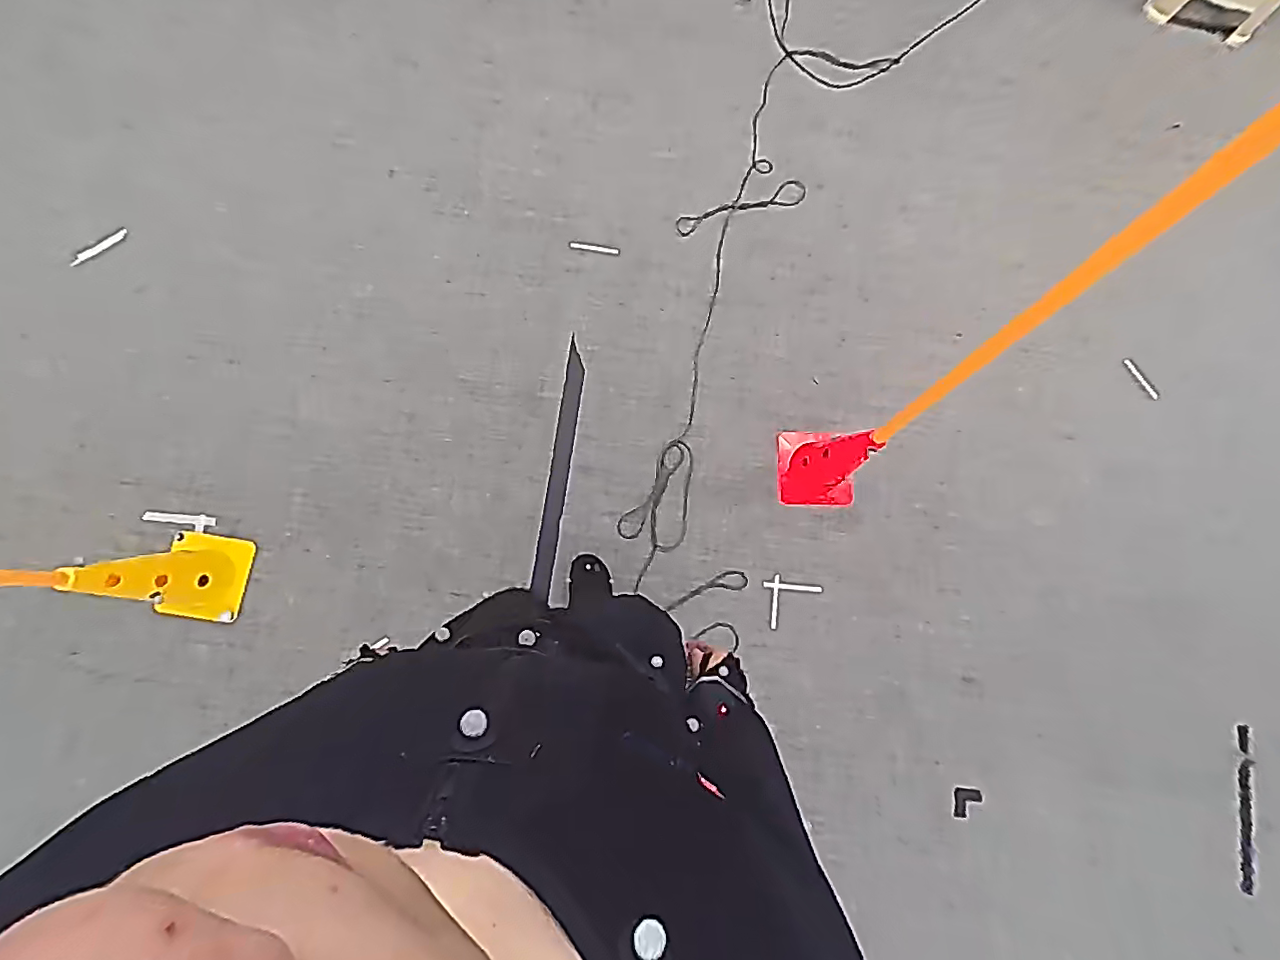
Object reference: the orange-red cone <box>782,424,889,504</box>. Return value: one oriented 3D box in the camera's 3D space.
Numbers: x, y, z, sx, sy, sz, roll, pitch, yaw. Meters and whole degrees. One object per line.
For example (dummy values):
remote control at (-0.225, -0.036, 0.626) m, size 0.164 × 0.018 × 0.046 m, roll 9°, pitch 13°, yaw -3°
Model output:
orange-red cone at (0.480, -0.064, 1.267) m, size 0.199 × 0.360 × 0.198 m, roll 2°, pitch 80°, yaw -1°
